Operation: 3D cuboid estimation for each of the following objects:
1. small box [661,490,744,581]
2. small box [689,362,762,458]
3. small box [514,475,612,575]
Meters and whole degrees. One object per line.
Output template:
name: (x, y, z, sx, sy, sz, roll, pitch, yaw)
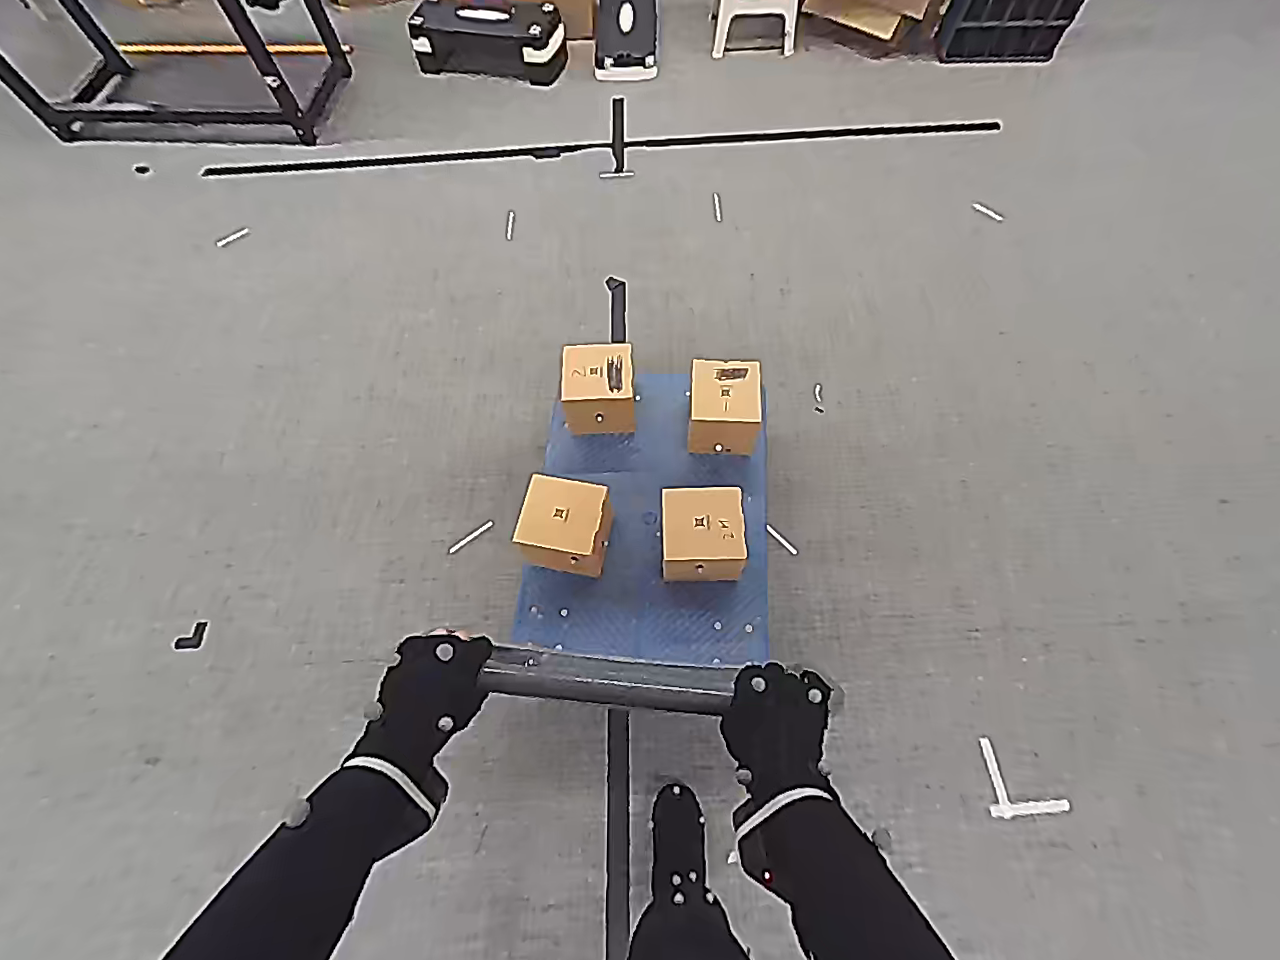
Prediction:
small box: (0.136, 0.130, 1.229, 0.179, 0.176, 0.168, 0, 65, 2)
small box: (0.211, -0.176, 1.371, 0.168, 0.176, 0.179, 3, 66, 3)
small box: (-0.169, 0.109, 1.250, 0.179, 0.176, 0.168, 10, 65, 5)
